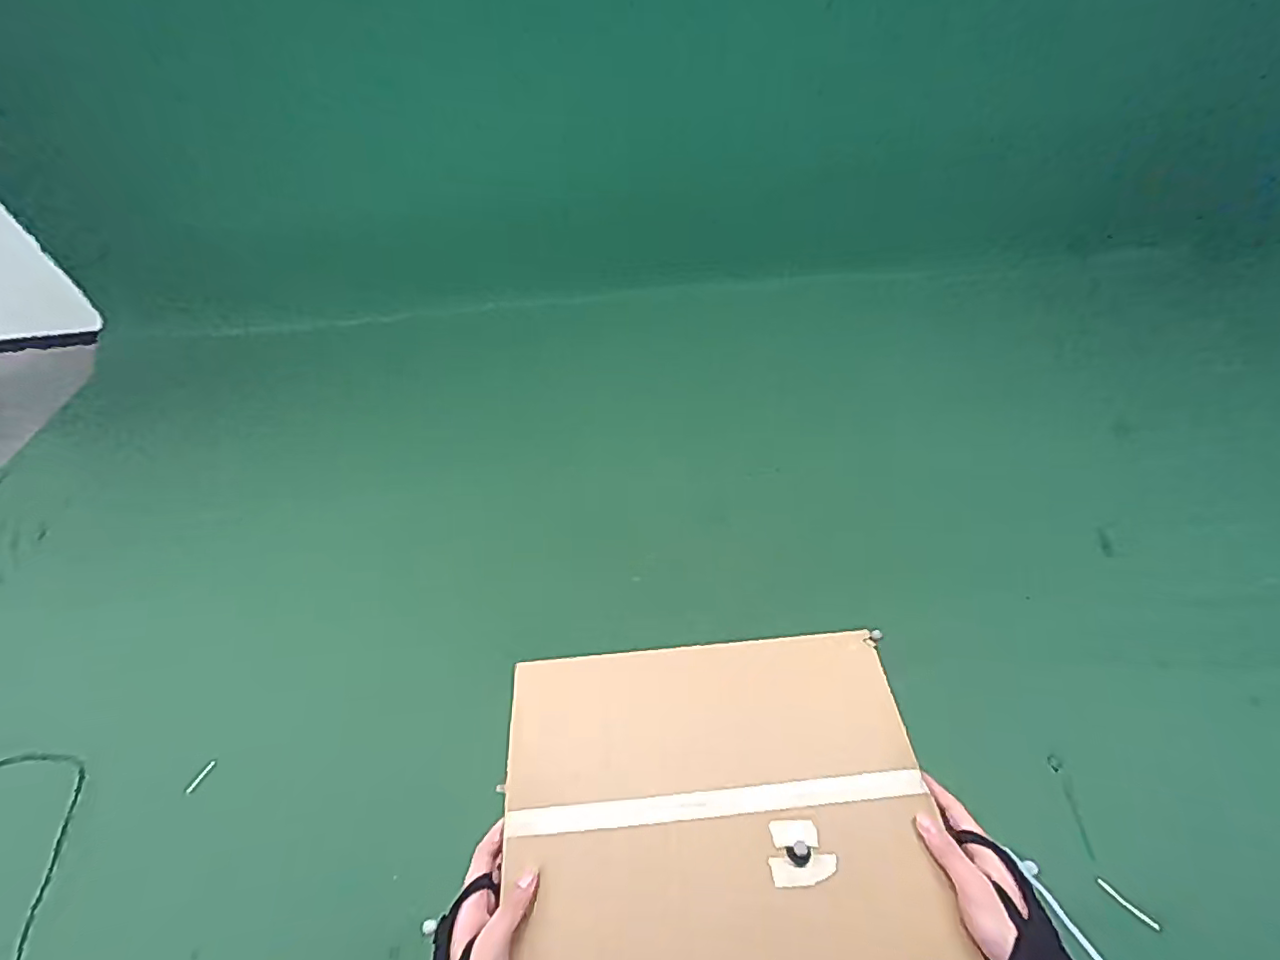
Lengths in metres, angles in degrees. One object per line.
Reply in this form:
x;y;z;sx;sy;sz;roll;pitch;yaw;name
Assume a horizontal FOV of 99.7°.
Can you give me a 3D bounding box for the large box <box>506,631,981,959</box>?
0.077;0.409;0.644;0.408;0.320;0.320;-5;50;-1;large box
